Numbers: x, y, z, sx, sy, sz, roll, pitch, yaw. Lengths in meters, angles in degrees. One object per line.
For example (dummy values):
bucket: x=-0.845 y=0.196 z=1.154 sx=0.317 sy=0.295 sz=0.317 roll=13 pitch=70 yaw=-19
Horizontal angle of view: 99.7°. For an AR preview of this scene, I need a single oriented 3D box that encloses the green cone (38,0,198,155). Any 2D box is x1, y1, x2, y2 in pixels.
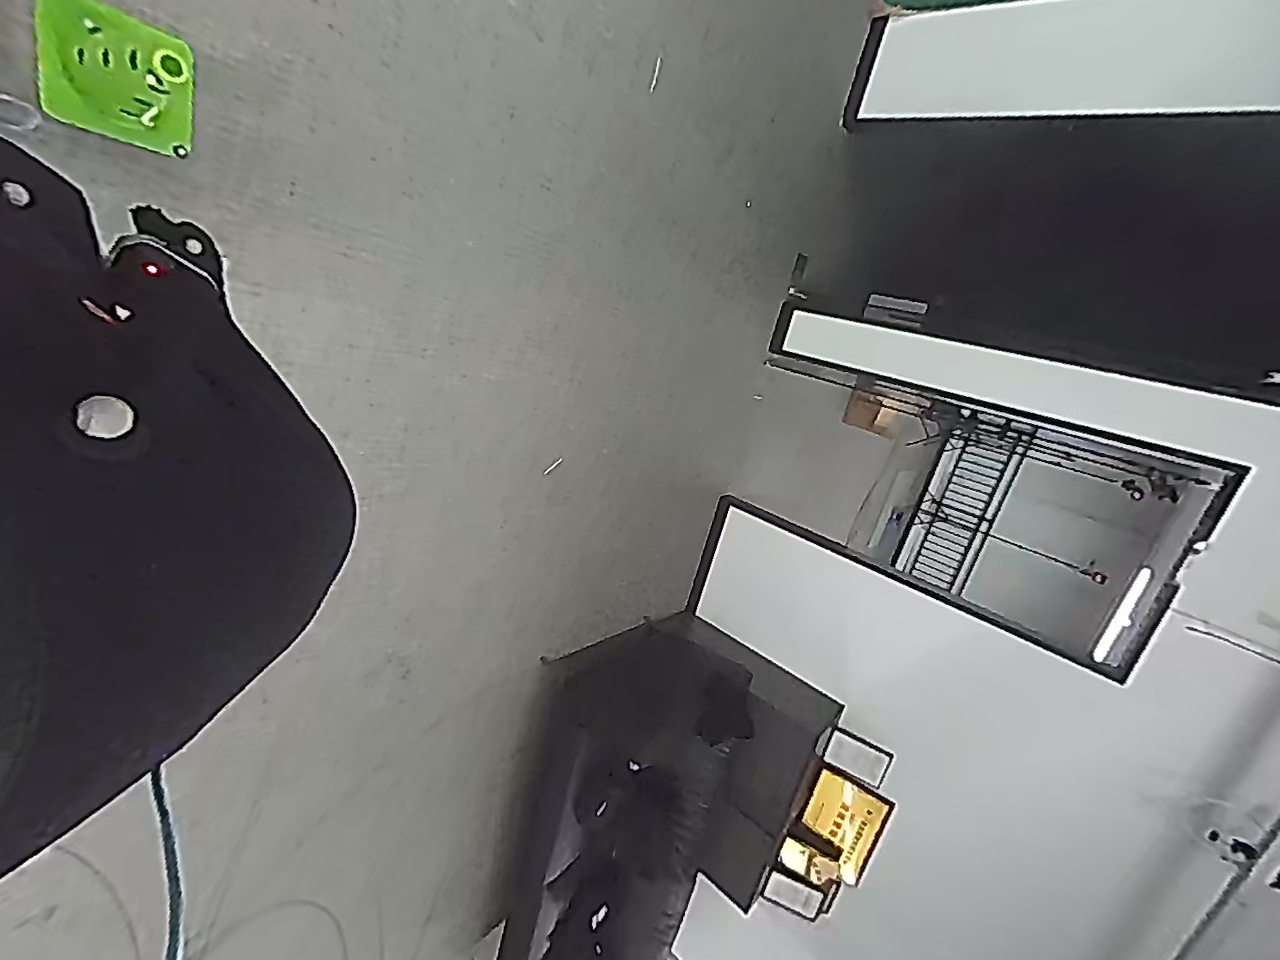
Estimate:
green cone: x=-0.787 y=-0.655 z=0.858 sx=0.202 sy=0.368 sz=0.200 roll=-6 pitch=116 yaw=-50
